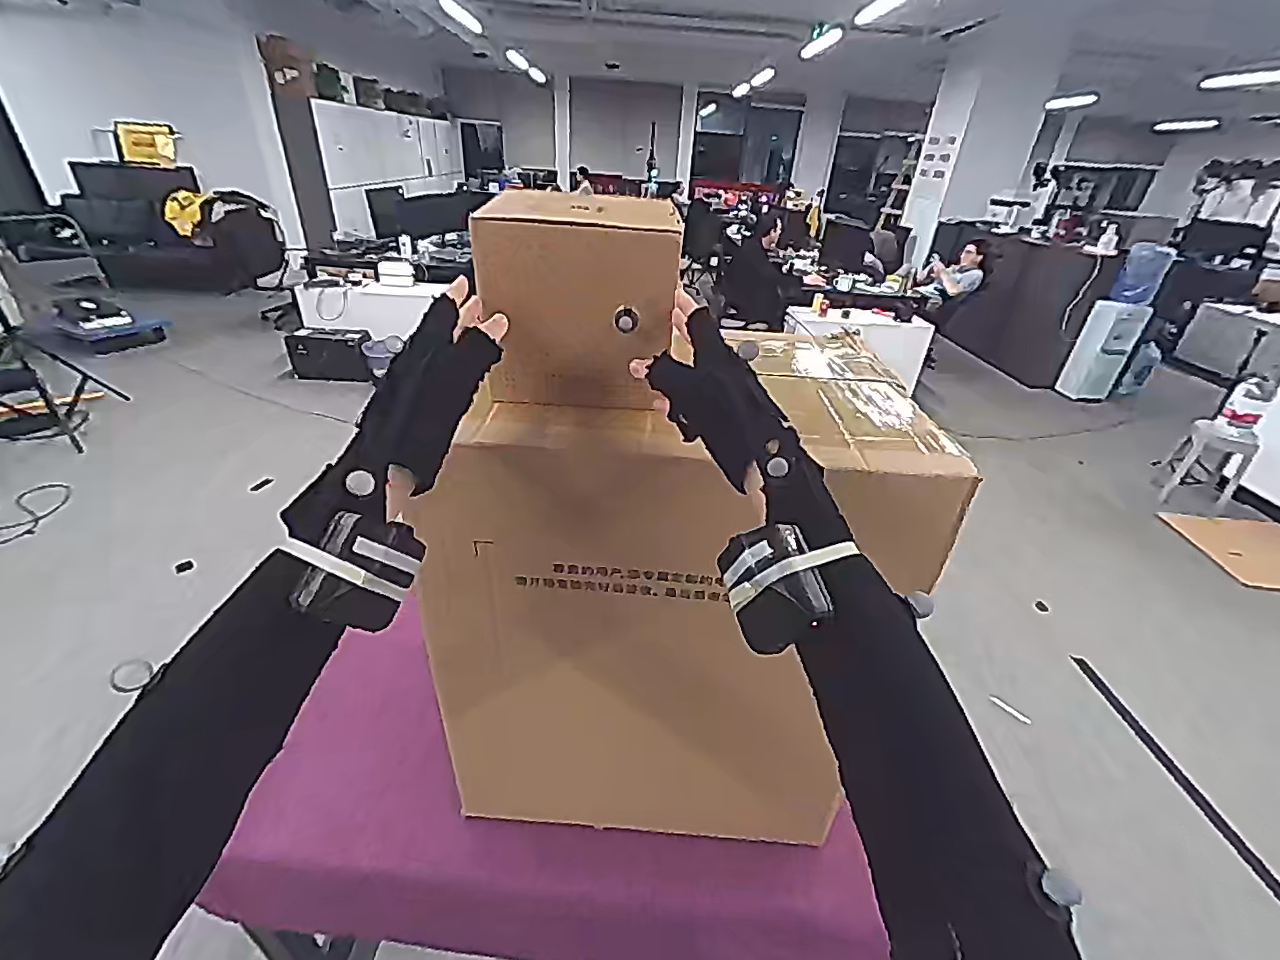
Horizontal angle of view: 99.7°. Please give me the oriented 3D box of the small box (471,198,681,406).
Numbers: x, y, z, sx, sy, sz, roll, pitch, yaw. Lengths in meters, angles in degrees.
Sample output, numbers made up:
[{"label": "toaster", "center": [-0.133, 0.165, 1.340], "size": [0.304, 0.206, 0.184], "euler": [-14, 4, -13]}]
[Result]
[{"label": "small box", "center": [-0.058, -0.184, 0.554], "size": [0.179, 0.176, 0.168], "euler": [1, 31, -2]}]
